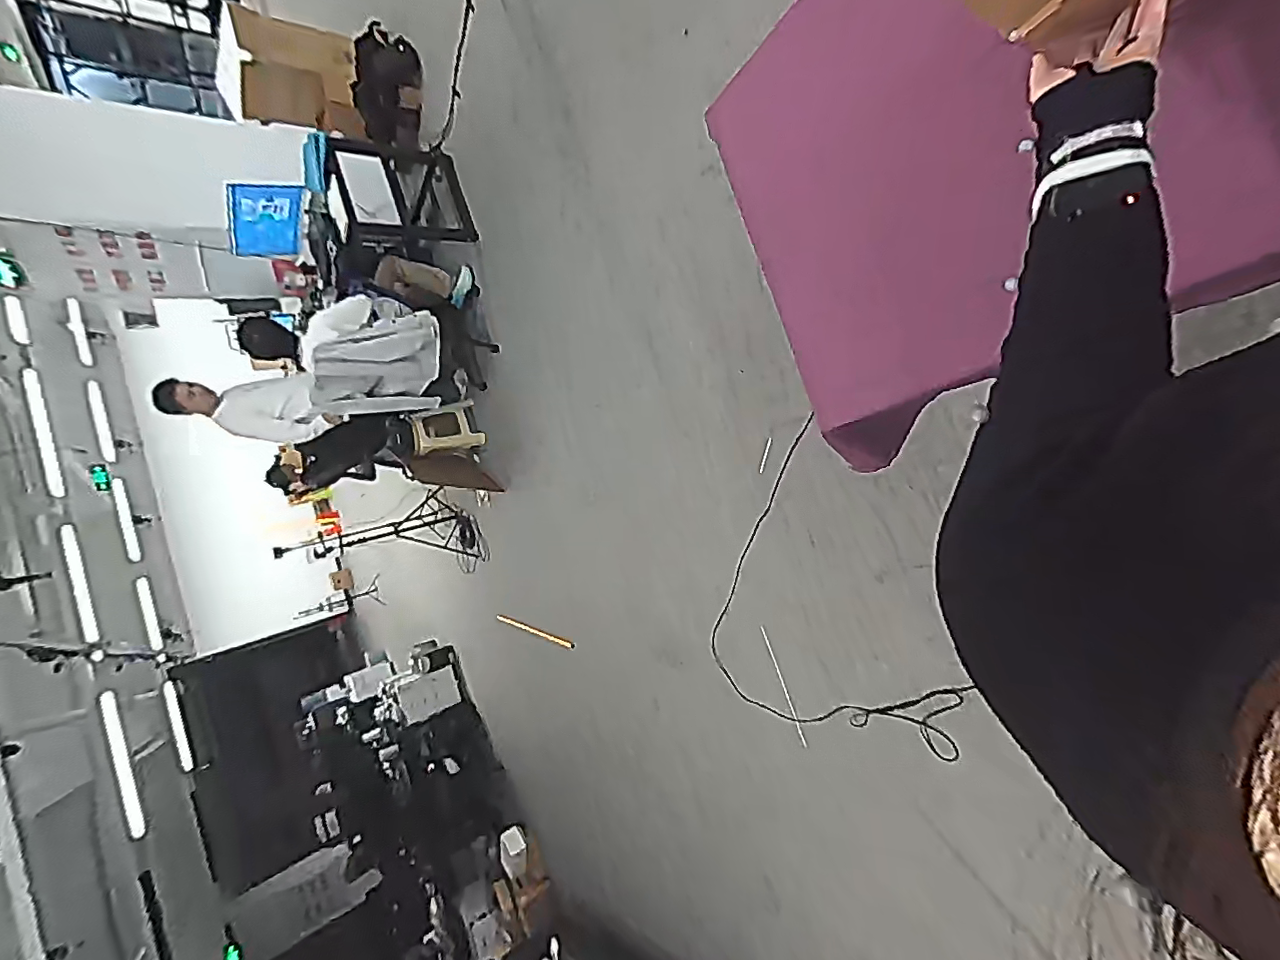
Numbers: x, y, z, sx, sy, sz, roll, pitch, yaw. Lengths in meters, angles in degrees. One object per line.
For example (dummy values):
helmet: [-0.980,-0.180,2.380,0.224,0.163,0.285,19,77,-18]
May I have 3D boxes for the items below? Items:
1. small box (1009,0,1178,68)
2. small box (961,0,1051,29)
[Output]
small box: [0.424,-0.516,0.485,0.168,0.176,0.179,-26,81,52]
small box: [0.288,-0.490,0.395,0.168,0.176,0.179,-26,80,53]
